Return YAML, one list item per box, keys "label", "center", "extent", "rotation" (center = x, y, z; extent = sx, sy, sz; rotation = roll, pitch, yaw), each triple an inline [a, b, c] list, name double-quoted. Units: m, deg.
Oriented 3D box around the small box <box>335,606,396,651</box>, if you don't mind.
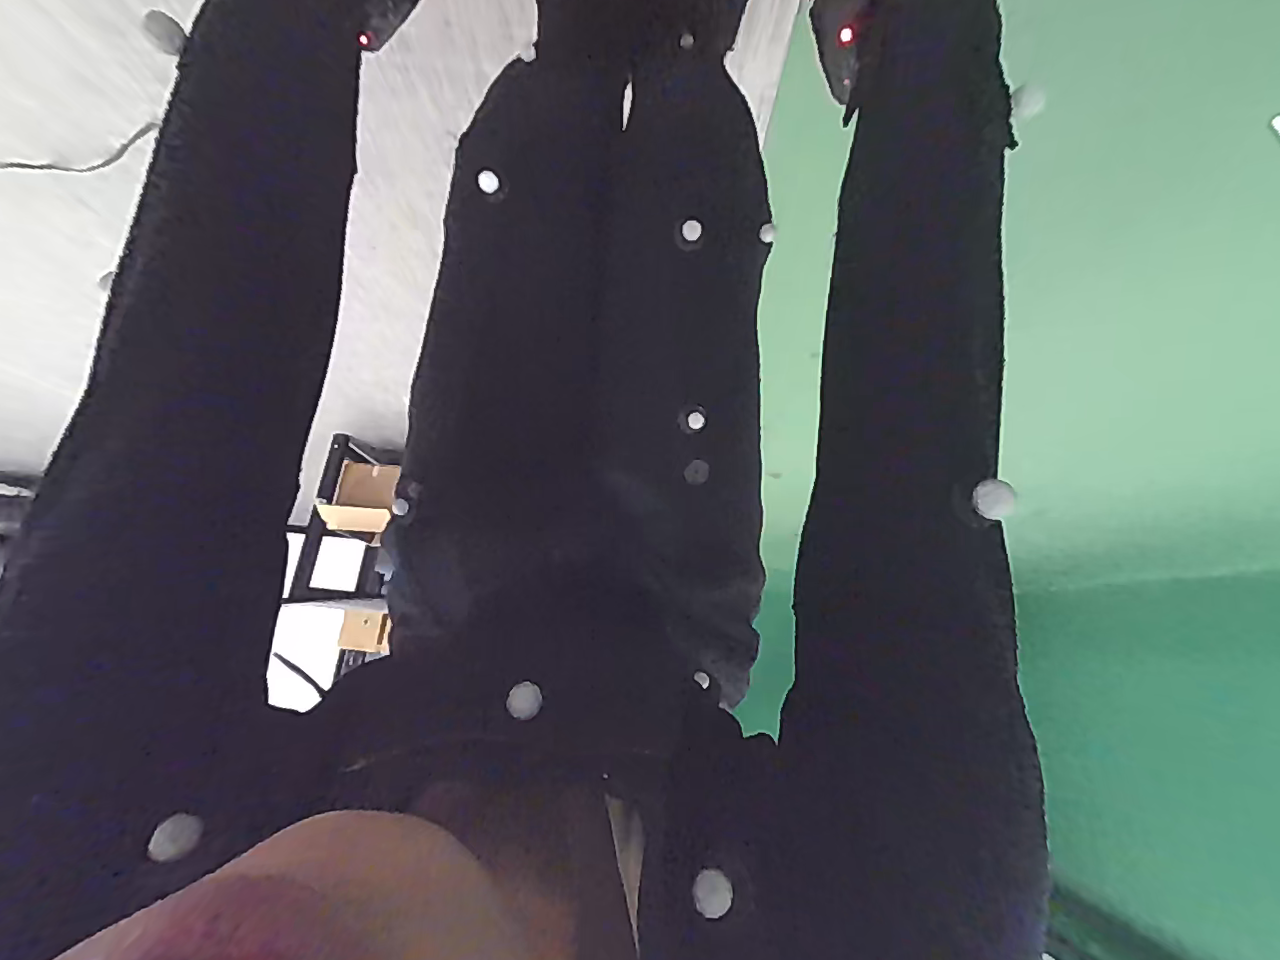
- label: "small box"
  center: [-1.188, 0.647, 2.358]
  extent: [0.168, 0.176, 0.179]
  rotation: [6, 163, -1]
